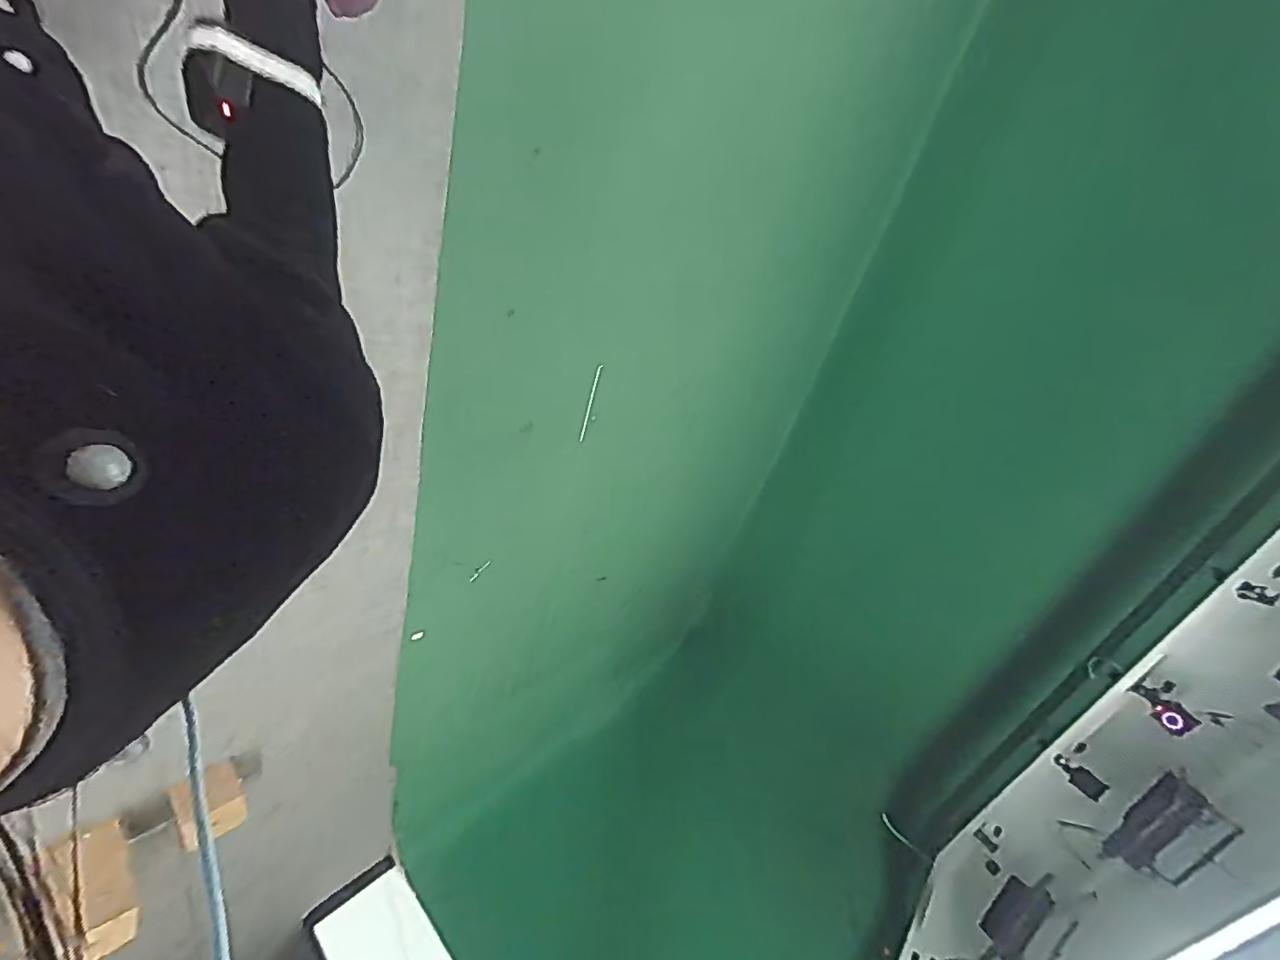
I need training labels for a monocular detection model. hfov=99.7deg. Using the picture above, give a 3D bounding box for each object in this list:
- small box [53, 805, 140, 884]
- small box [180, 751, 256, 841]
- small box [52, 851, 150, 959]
[{"bbox_3d":[-1.690,1.165,1.681,0.168,0.176,0.179,-7,126,-53],"label":"small box"},{"bbox_3d":[-1.491,1.107,1.906,0.179,0.176,0.168,-19,135,-47],"label":"small box"},{"bbox_3d":[-1.582,1.248,1.588,0.179,0.176,0.168,-7,126,-54],"label":"small box"}]
